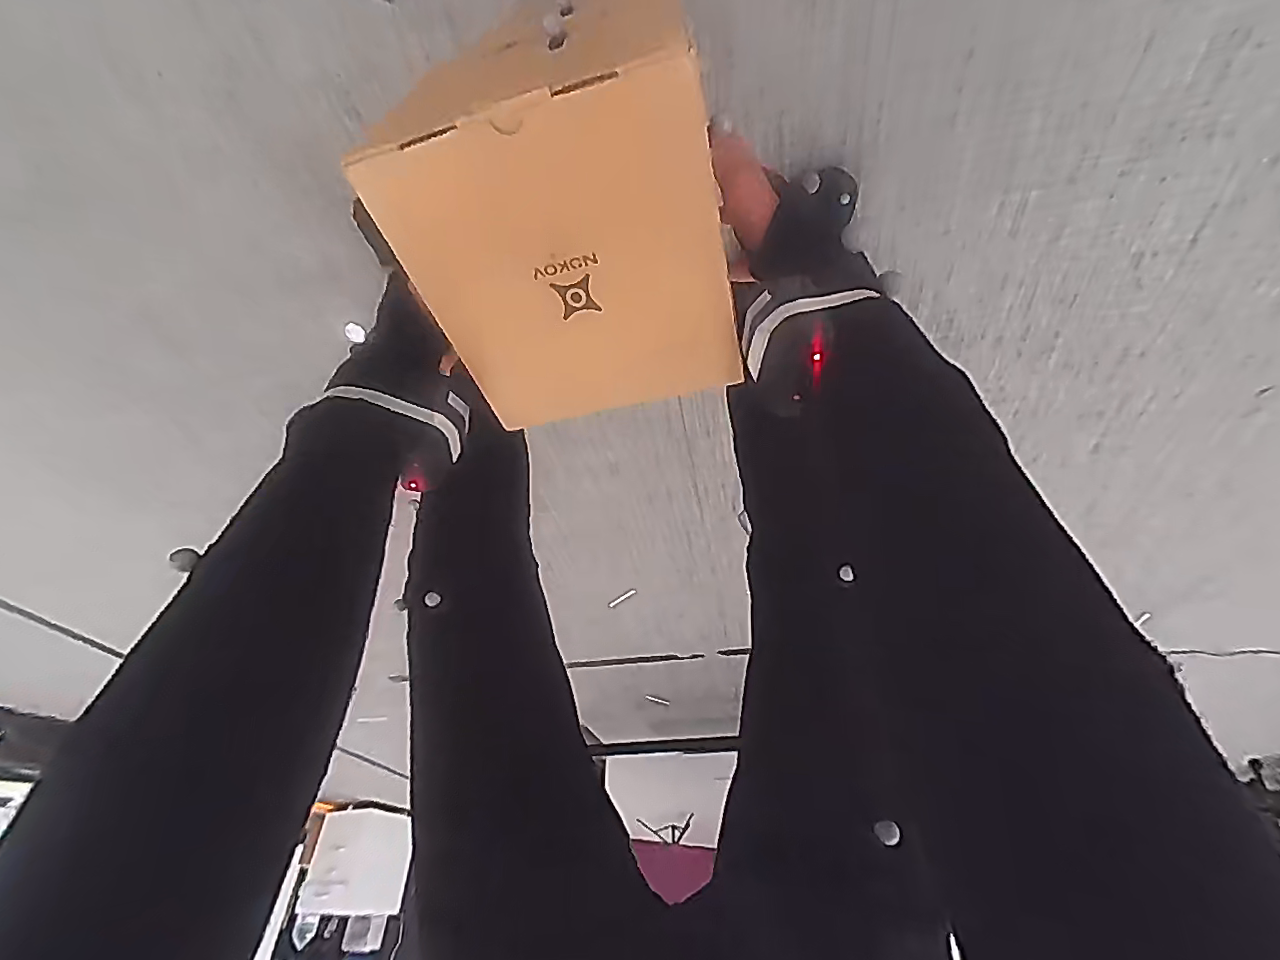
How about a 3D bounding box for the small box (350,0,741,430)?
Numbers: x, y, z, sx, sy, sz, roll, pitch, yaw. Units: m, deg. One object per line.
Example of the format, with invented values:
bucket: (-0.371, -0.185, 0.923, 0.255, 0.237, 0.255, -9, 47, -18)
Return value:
small box: (-0.034, -0.162, 0.347, 0.168, 0.176, 0.179, -10, 137, 11)
